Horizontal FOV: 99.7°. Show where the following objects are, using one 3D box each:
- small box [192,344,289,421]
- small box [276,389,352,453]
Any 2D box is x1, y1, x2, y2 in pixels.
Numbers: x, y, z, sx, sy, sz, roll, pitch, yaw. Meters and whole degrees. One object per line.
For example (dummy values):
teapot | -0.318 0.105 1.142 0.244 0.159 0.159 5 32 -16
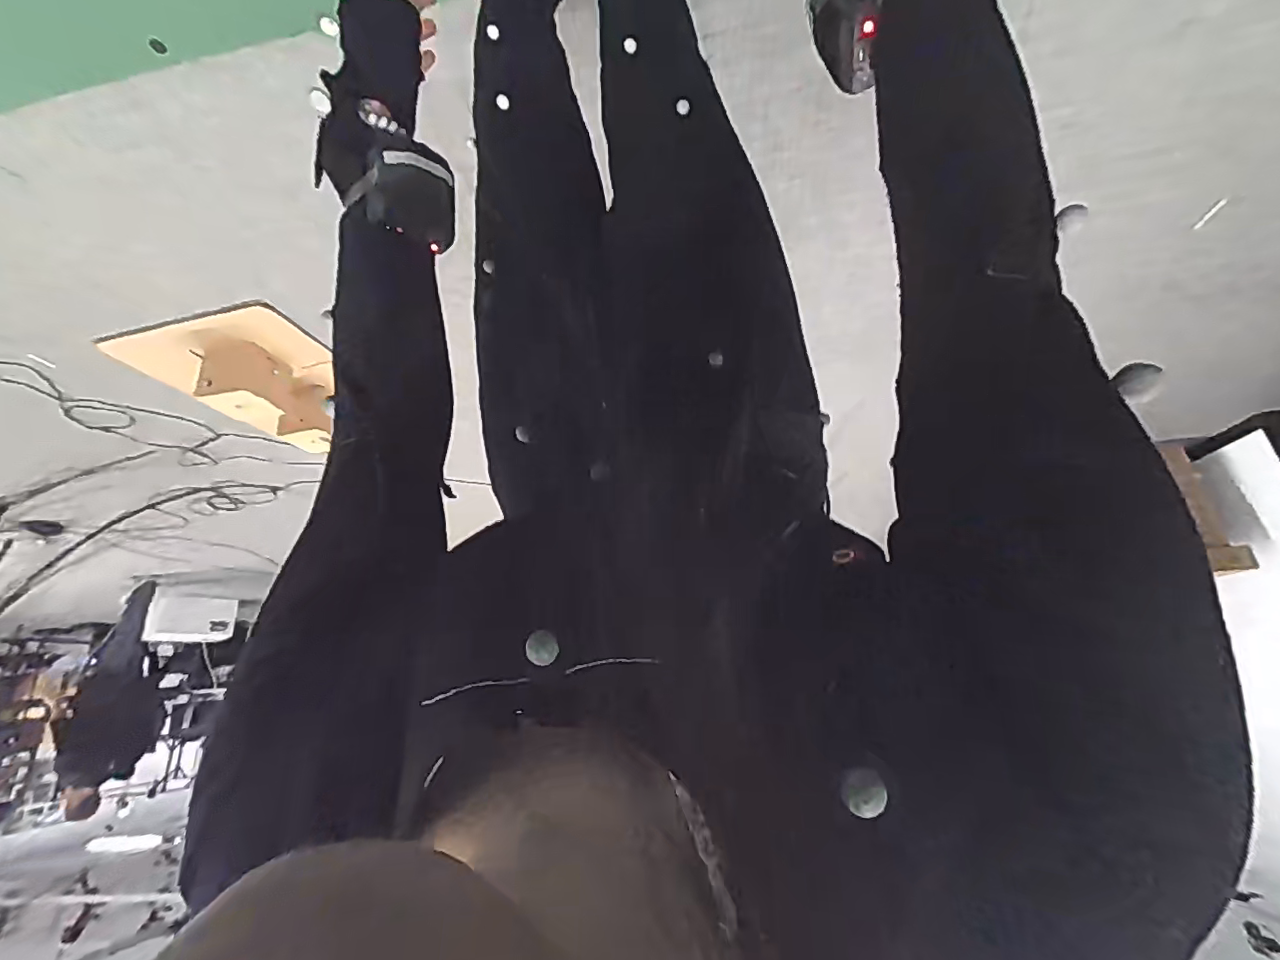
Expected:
small box | -1.250 -0.307 1.707 0.179 0.176 0.168 -8 160 6
small box | -1.174 -0.214 1.960 0.179 0.176 0.168 -9 159 12
